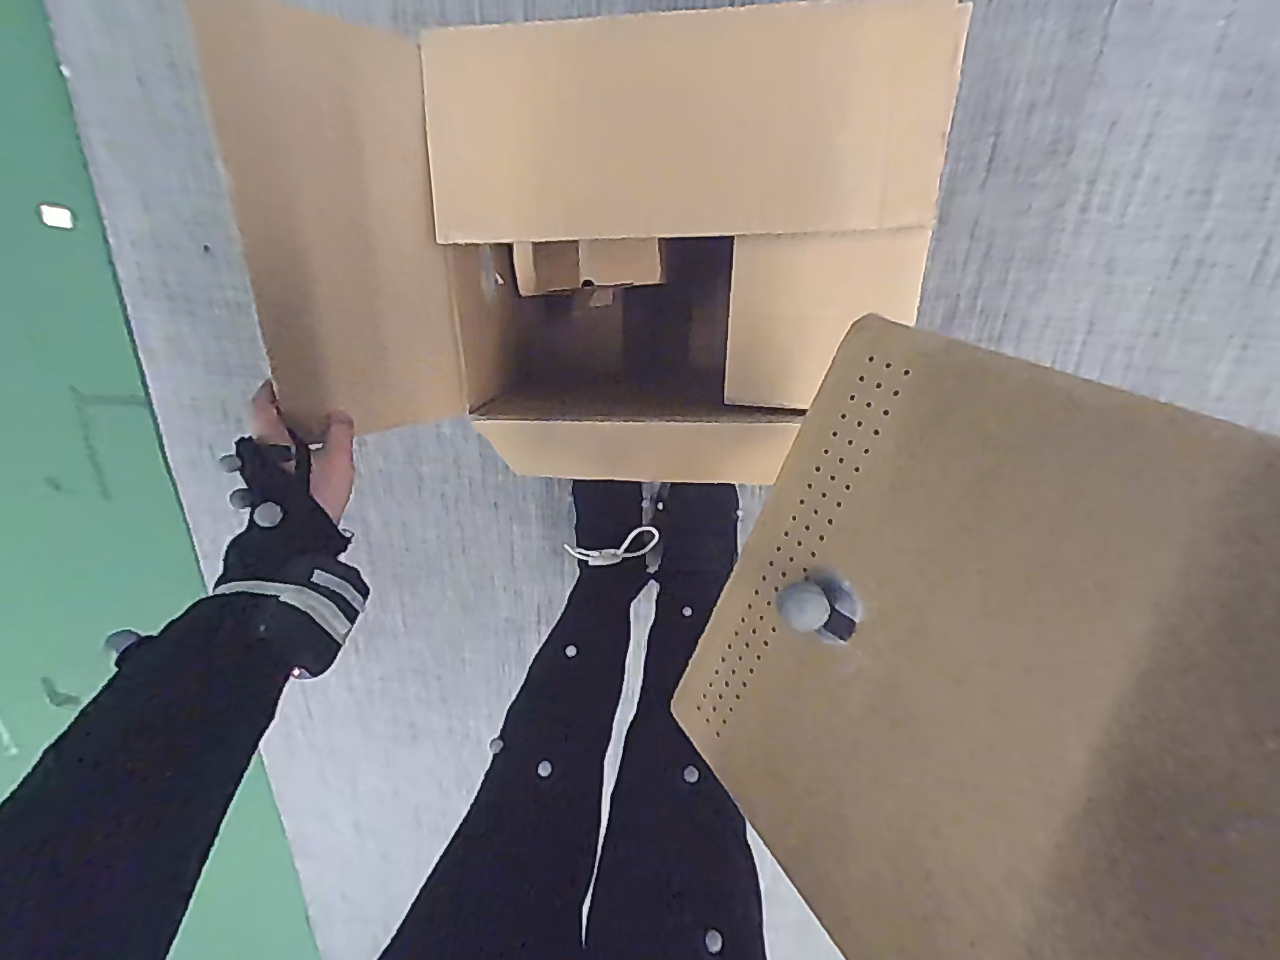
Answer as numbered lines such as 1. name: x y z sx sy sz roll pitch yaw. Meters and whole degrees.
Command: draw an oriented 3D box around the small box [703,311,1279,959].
1. small box: 0.148 0.061 0.196 0.168 0.176 0.179 4 116 -37
